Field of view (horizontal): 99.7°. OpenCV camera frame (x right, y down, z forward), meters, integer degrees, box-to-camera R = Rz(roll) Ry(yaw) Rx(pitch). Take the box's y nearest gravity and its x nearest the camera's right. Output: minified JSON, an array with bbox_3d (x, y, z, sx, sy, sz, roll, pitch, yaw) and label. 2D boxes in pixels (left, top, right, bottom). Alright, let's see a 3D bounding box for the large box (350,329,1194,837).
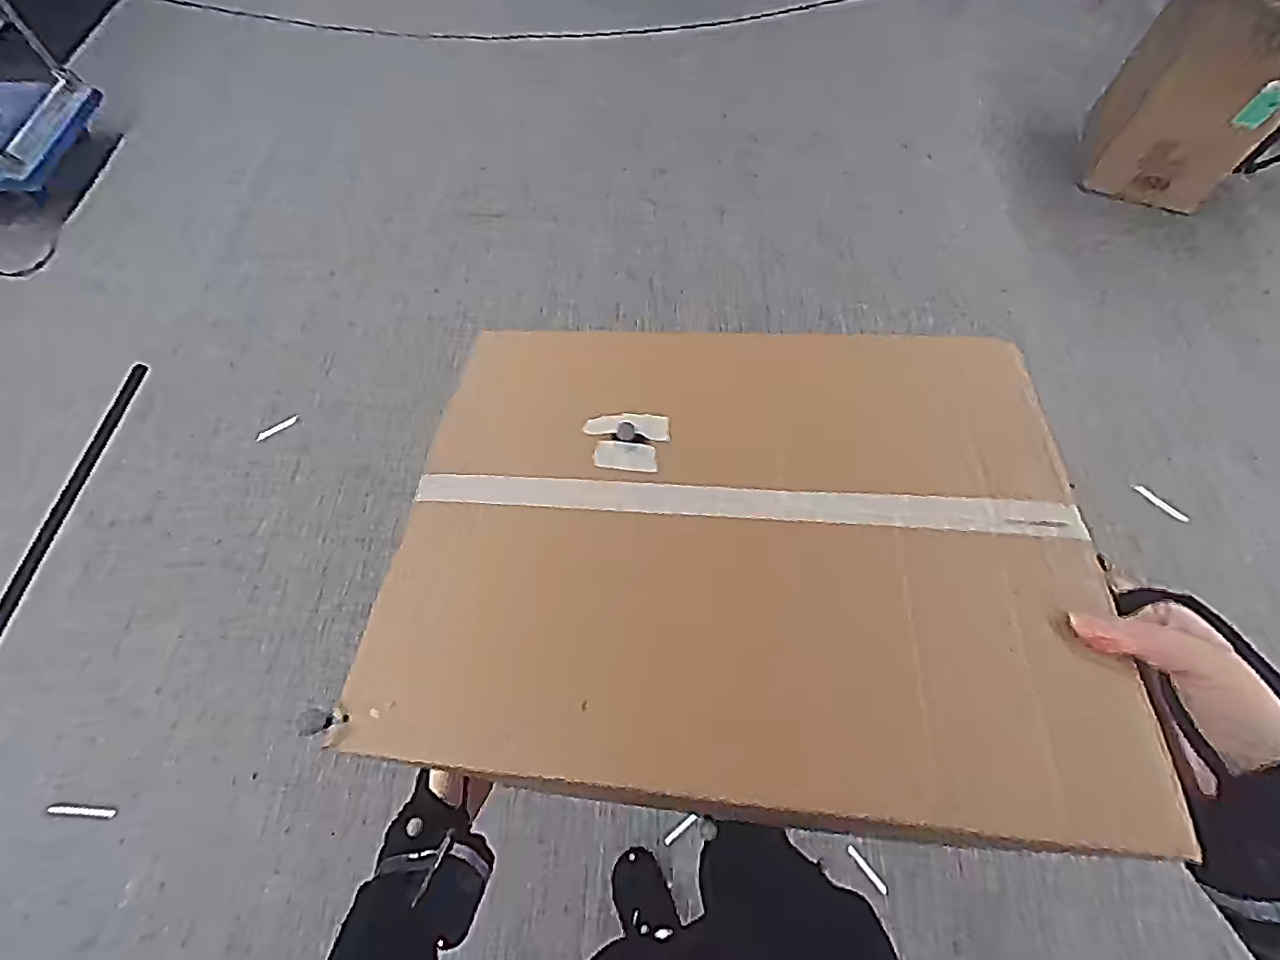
[{"bbox_3d":[0.075,0.095,0.459,0.408,0.320,0.320,2,56,9],"label":"large box"}]
